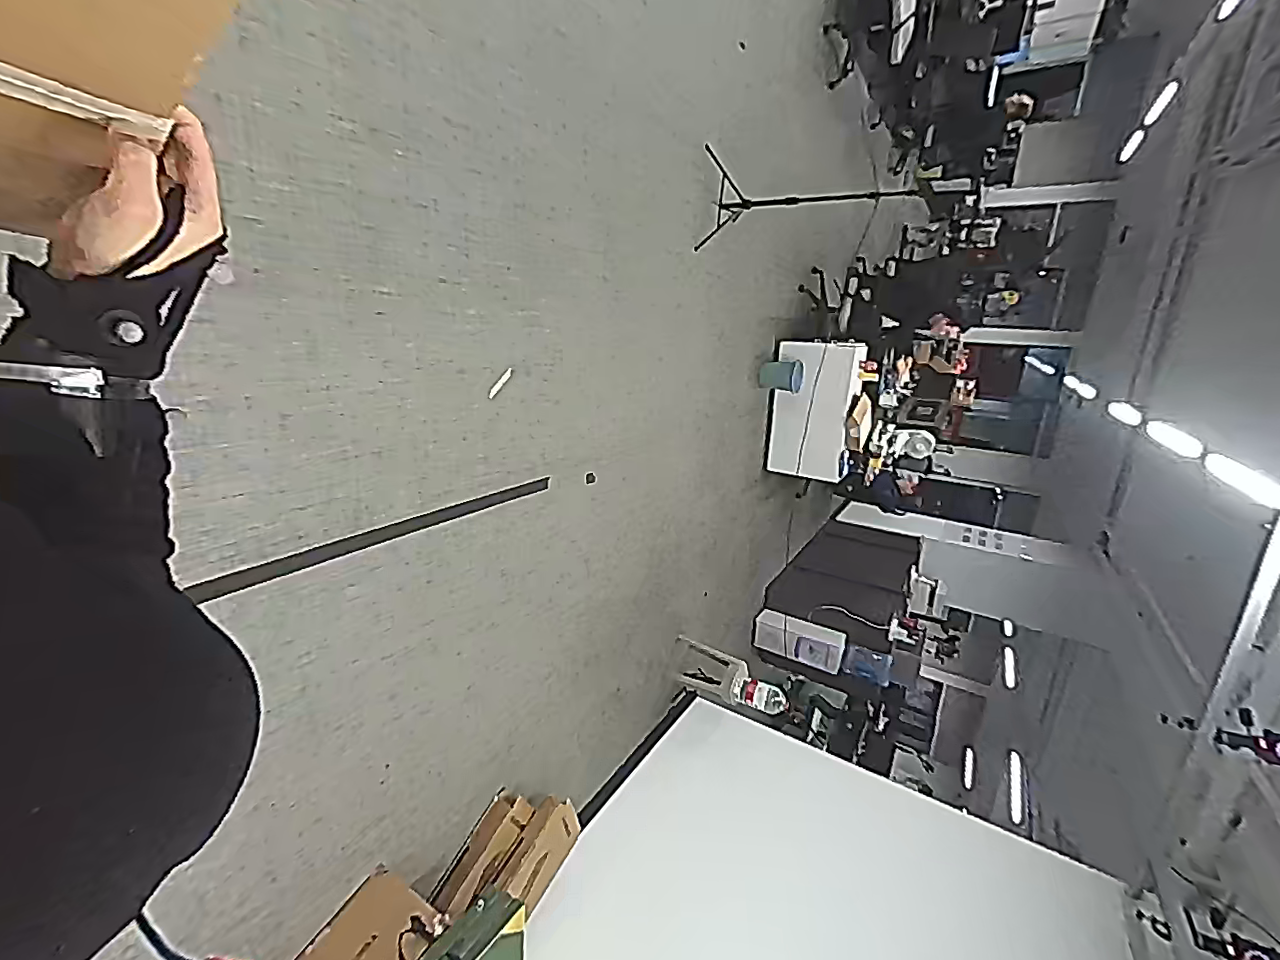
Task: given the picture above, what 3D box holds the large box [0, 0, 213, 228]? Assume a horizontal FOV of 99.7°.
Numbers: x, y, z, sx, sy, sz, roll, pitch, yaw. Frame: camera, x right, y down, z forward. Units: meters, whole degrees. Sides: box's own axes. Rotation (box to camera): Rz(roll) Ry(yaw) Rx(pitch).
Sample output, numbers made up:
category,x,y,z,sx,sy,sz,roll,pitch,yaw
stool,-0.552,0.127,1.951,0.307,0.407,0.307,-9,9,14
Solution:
category,x,y,z,sx,sy,sz,roll,pitch,yaw
large box,-0.428,-0.343,0.158,0.408,0.320,0.320,-11,87,-57
